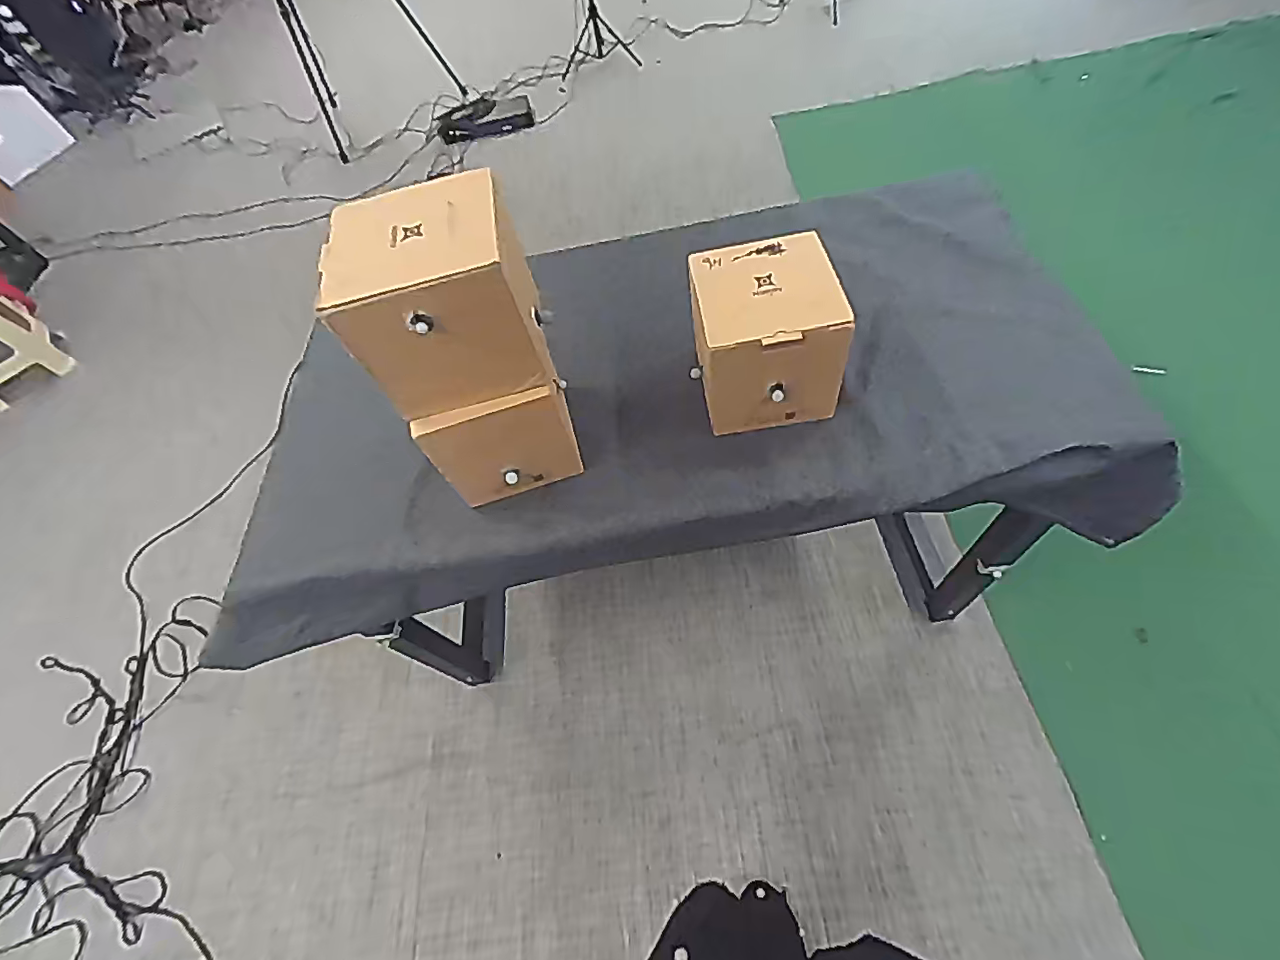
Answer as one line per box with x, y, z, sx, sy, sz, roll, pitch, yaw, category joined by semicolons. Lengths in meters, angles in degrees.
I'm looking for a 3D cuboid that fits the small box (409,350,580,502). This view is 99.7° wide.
-0.190;-0.100;0.720;0.168;0.176;0.179;-18;58;-1;small box

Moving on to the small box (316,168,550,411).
-0.211;-0.198;0.592;0.179;0.176;0.168;-14;59;0;small box

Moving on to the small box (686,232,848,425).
0.159;-0.189;0.716;0.168;0.176;0.179;-9;58;5;small box
